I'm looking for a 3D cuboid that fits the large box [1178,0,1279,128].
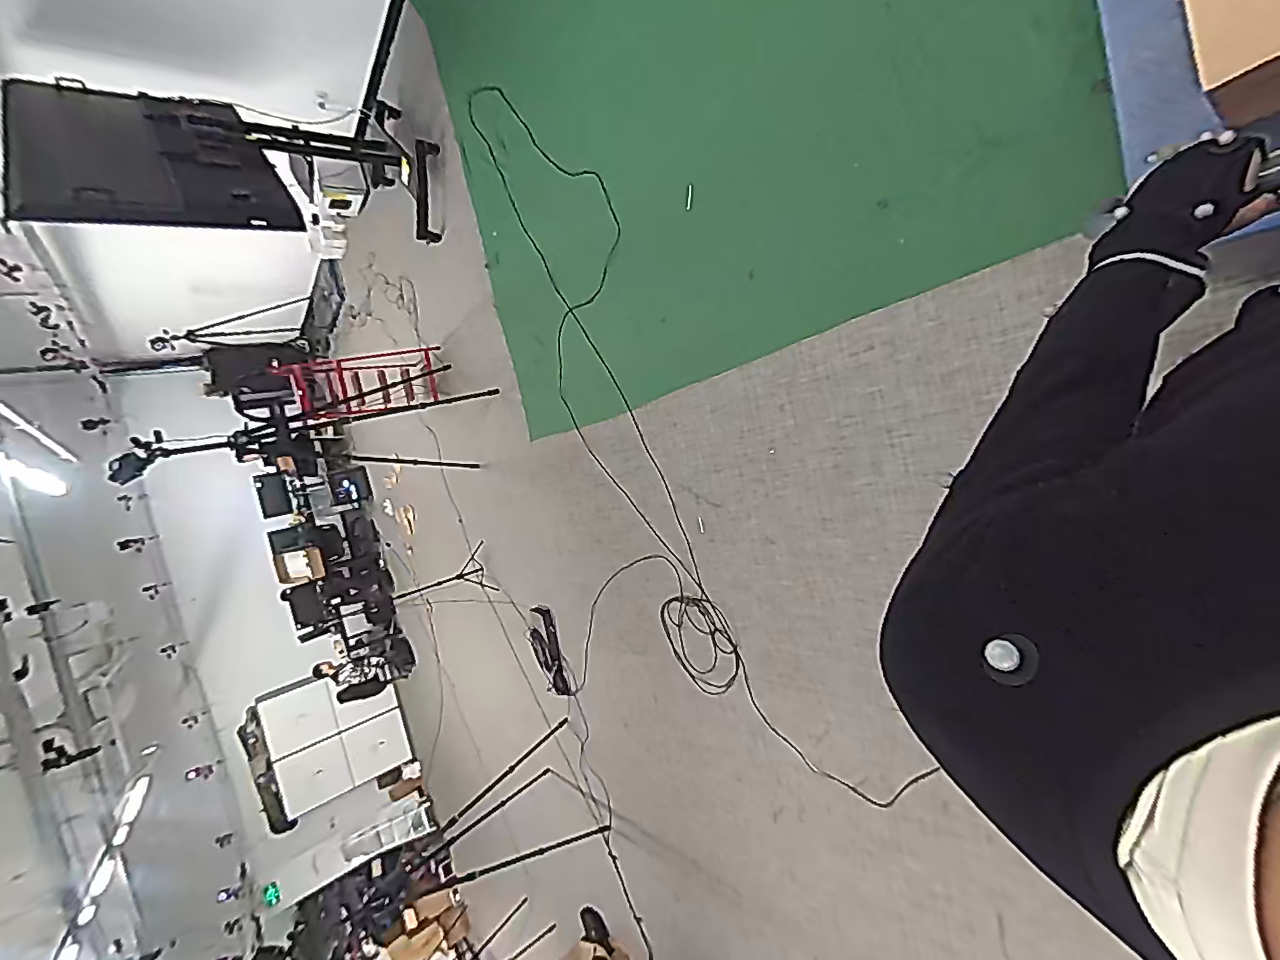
[{"bbox_3d":[0.961,-0.791,0.736,0.320,0.320,0.408,-12,92,53],"label":"large box"}]
